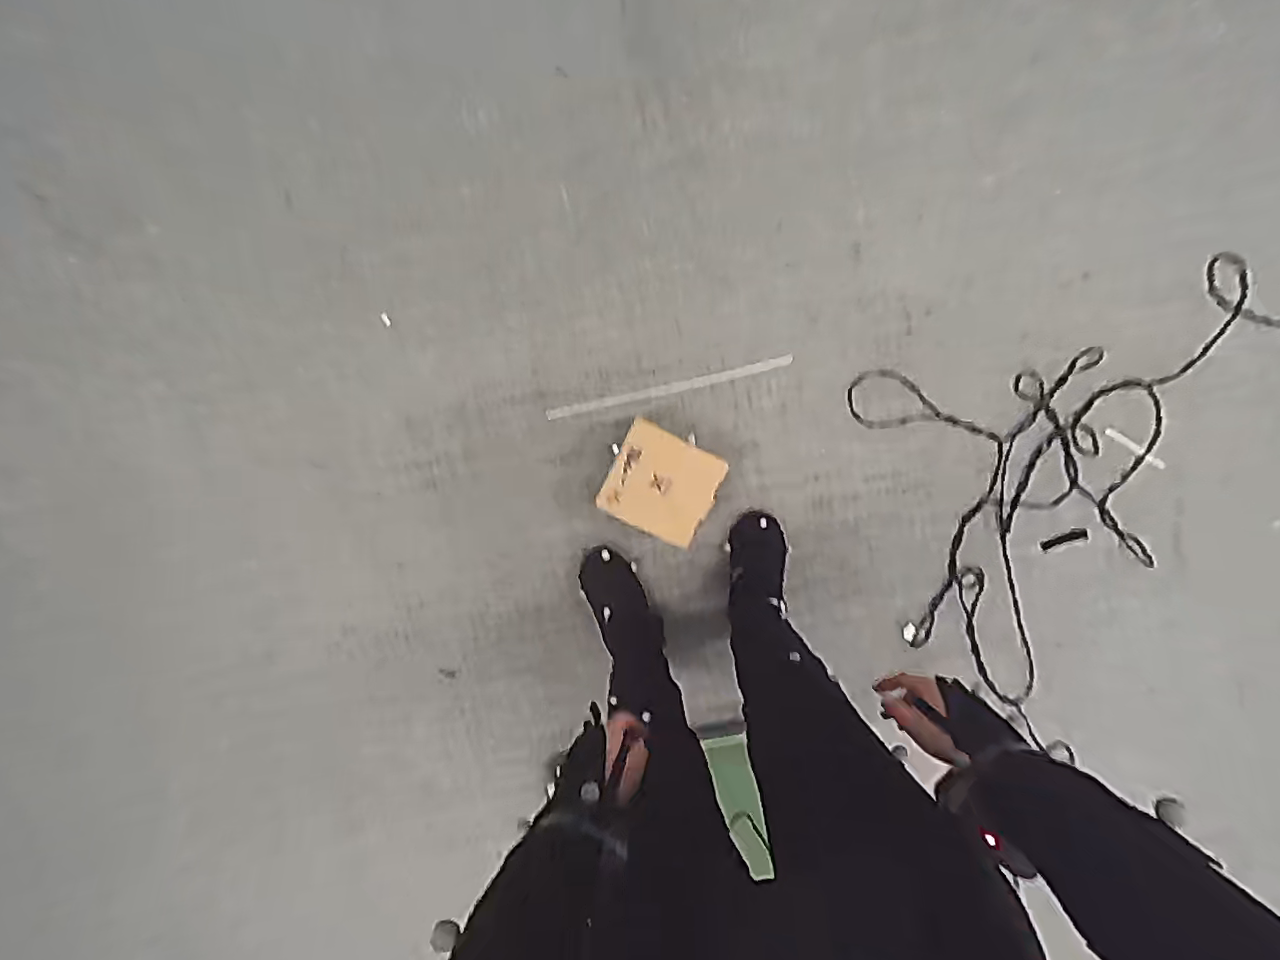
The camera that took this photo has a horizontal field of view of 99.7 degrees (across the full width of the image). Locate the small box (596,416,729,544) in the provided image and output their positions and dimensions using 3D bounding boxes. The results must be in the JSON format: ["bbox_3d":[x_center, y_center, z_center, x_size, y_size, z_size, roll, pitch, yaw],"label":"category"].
[{"bbox_3d":[0.038,-0.010,0.983,0.179,0.176,0.168,26,97,-3],"label":"small box"}]
